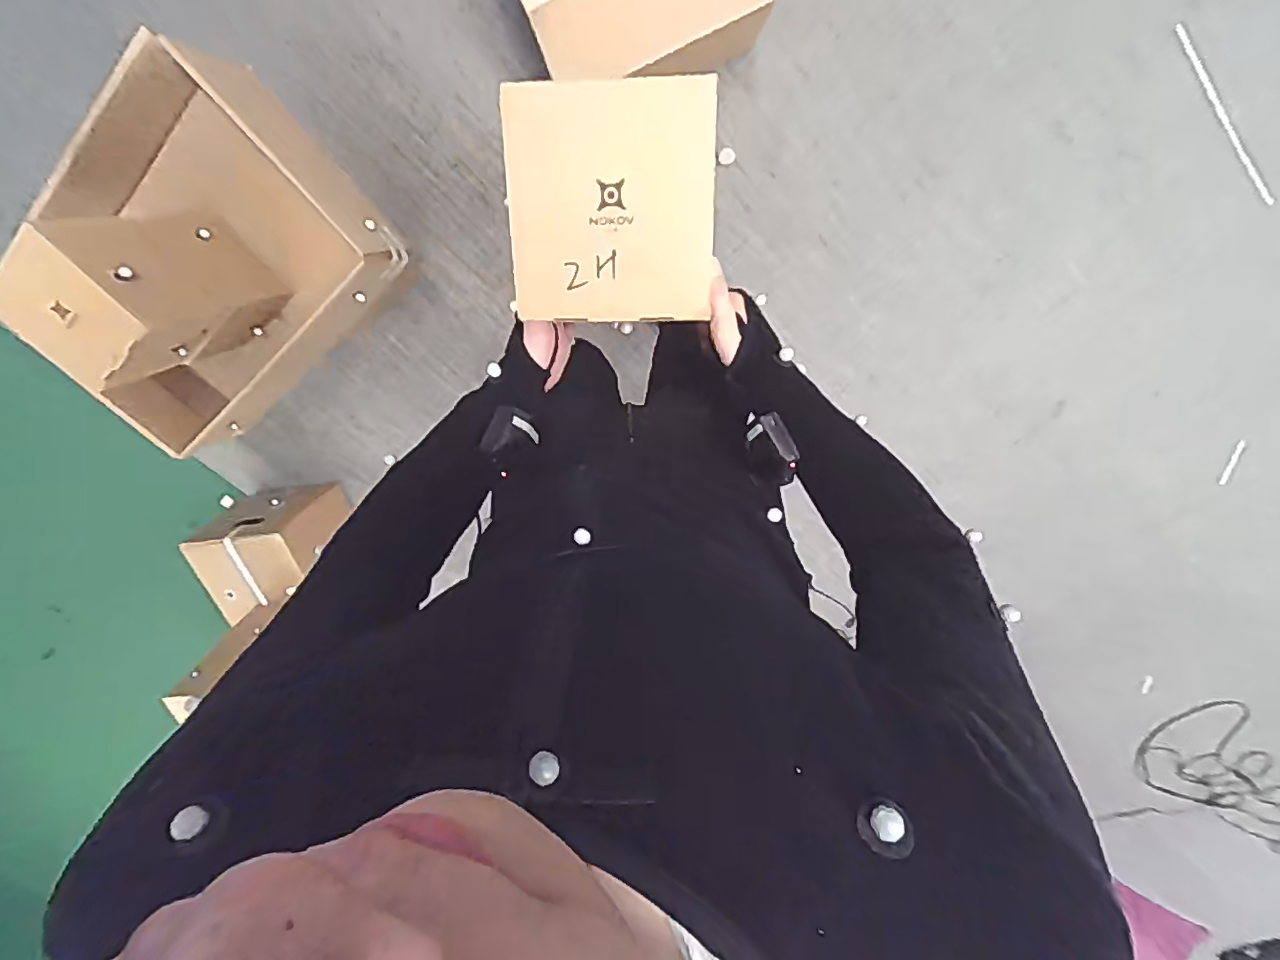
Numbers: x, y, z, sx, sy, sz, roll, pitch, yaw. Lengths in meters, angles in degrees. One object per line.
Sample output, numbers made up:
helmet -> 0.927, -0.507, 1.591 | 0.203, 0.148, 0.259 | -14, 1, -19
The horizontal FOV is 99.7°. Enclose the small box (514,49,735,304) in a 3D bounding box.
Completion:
small box -> -0.008, -0.255, 0.496 | 0.168, 0.176, 0.179 | 1, 109, 4

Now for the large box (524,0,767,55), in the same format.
large box -> -0.005, -0.947, 1.004 | 0.408, 0.320, 0.320 | -18, 115, 13

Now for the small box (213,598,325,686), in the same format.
small box -> -1.012, 0.445, 1.502 | 0.179, 0.176, 0.168 | -5, 116, 5

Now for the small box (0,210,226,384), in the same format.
small box -> -0.794, -0.279, 0.815 | 0.168, 0.176, 0.179 | -33, 112, 19
